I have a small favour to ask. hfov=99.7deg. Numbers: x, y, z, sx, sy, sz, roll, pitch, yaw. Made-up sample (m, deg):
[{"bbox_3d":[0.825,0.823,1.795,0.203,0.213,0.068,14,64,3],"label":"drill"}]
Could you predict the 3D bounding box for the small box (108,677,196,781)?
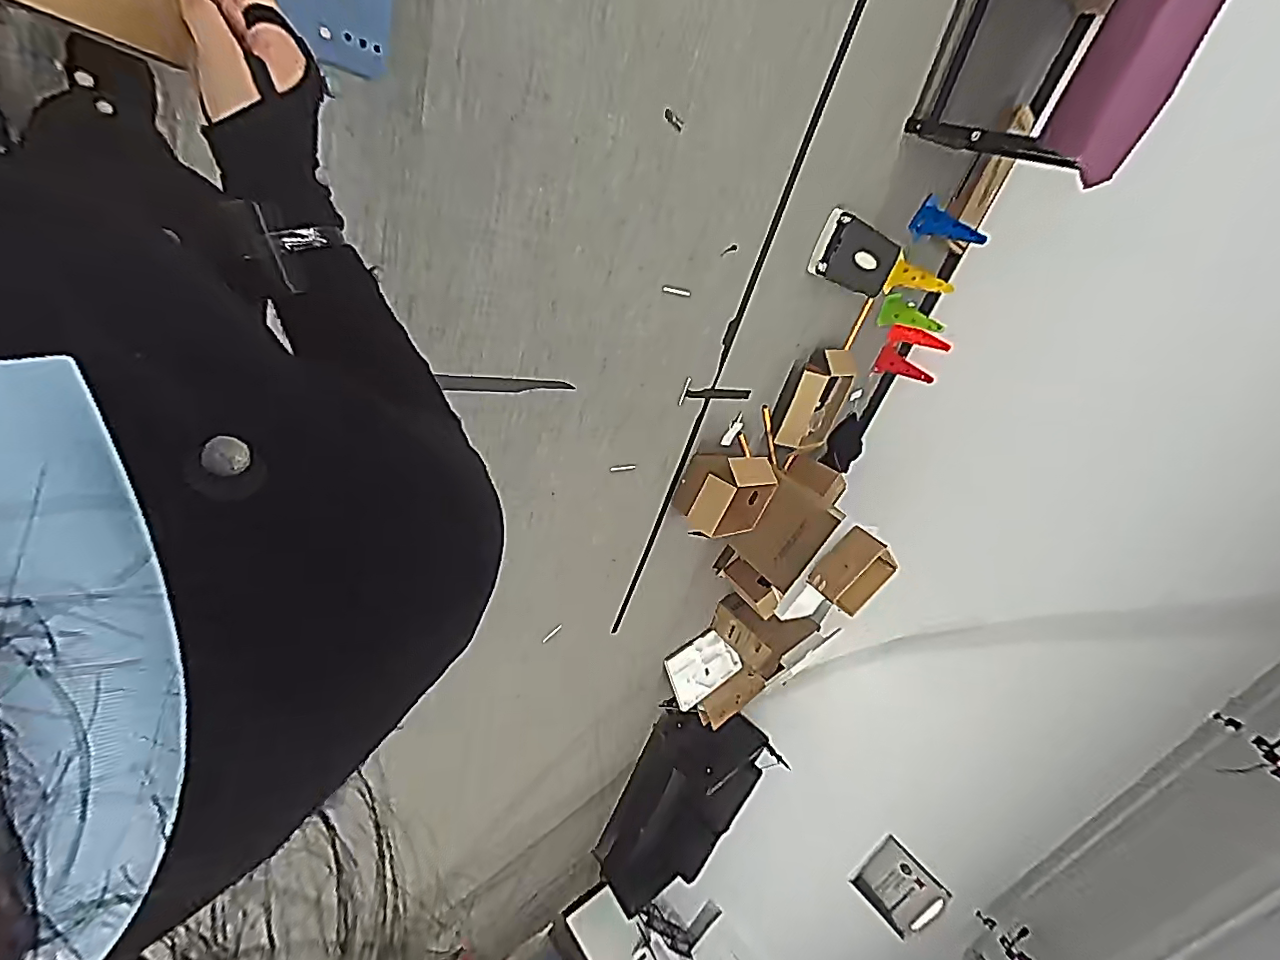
[{"bbox_3d":[-1.385,0.700,1.536,0.168,0.176,0.179,-10,129,-44],"label":"small box"}]
